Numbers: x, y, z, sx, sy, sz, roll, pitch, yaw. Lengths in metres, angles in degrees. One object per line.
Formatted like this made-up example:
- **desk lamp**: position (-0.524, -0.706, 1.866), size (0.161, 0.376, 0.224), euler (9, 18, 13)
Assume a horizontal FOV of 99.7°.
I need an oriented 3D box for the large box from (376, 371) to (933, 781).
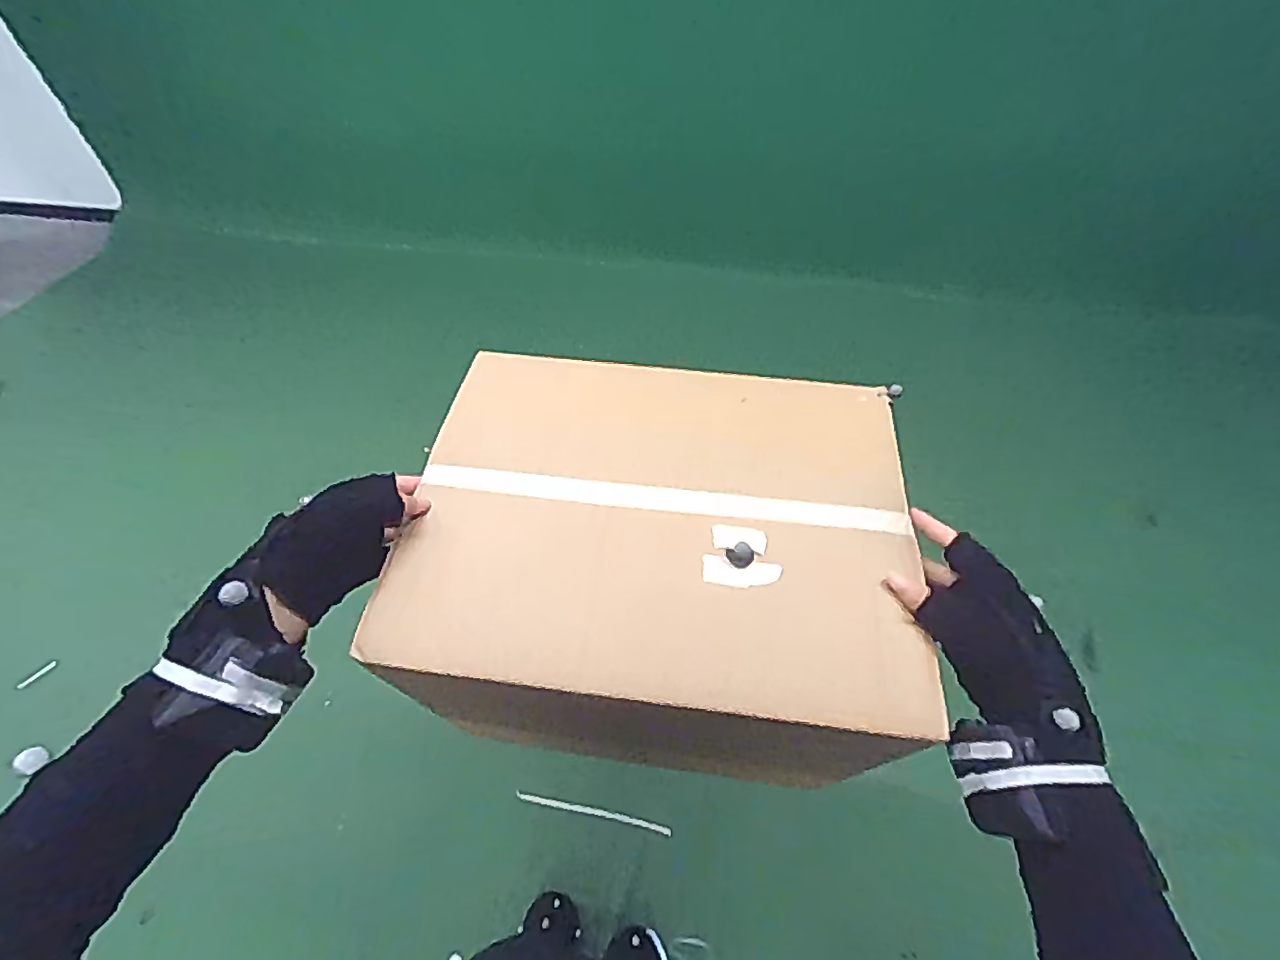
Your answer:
- **large box**: position (0.020, 0.111, 0.583), size (0.408, 0.320, 0.320), euler (6, 56, 5)
